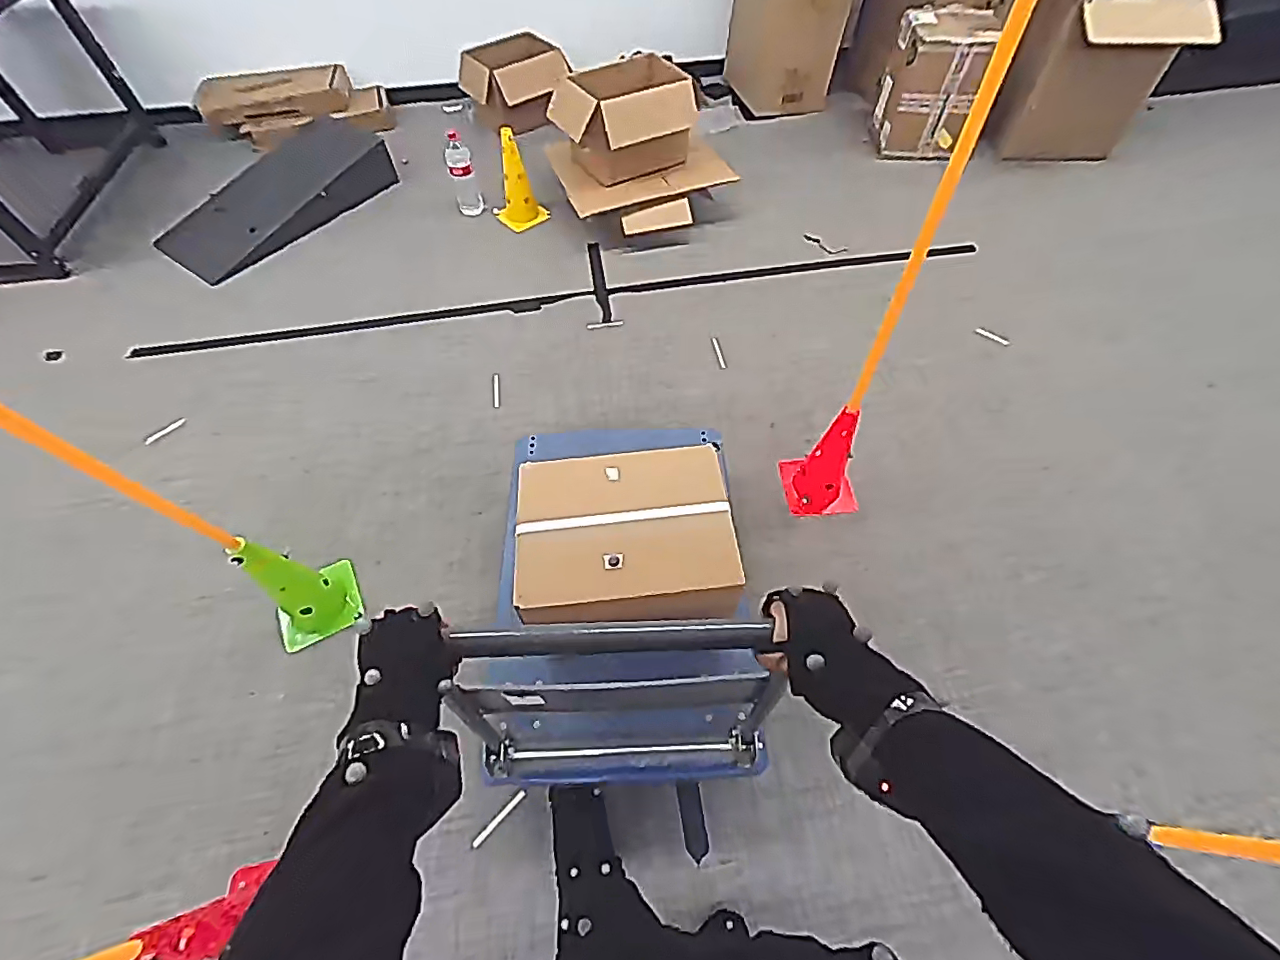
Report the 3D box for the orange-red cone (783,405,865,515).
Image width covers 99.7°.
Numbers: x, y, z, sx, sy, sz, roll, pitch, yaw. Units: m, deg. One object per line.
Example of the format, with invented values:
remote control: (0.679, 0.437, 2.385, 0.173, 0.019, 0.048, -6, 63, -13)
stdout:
orange-red cone: (0.537, -0.075, 1.474, 0.199, 0.360, 0.198, -2, 57, -2)
